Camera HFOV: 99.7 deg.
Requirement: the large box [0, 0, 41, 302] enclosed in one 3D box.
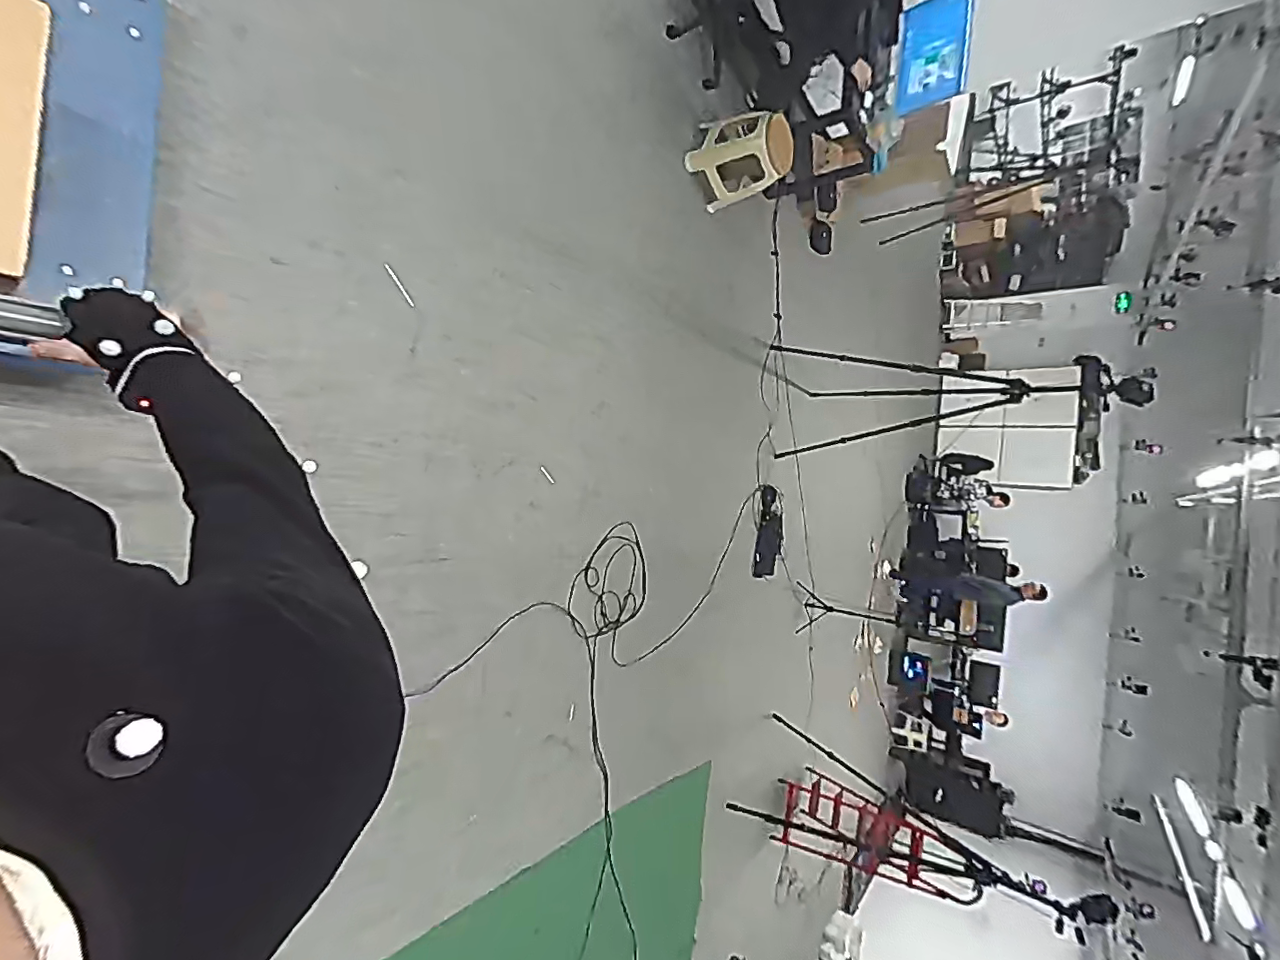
[{"bbox_3d":[-1.092,-0.511,0.759,0.320,0.320,0.408,4,89,-52],"label":"large box"}]
